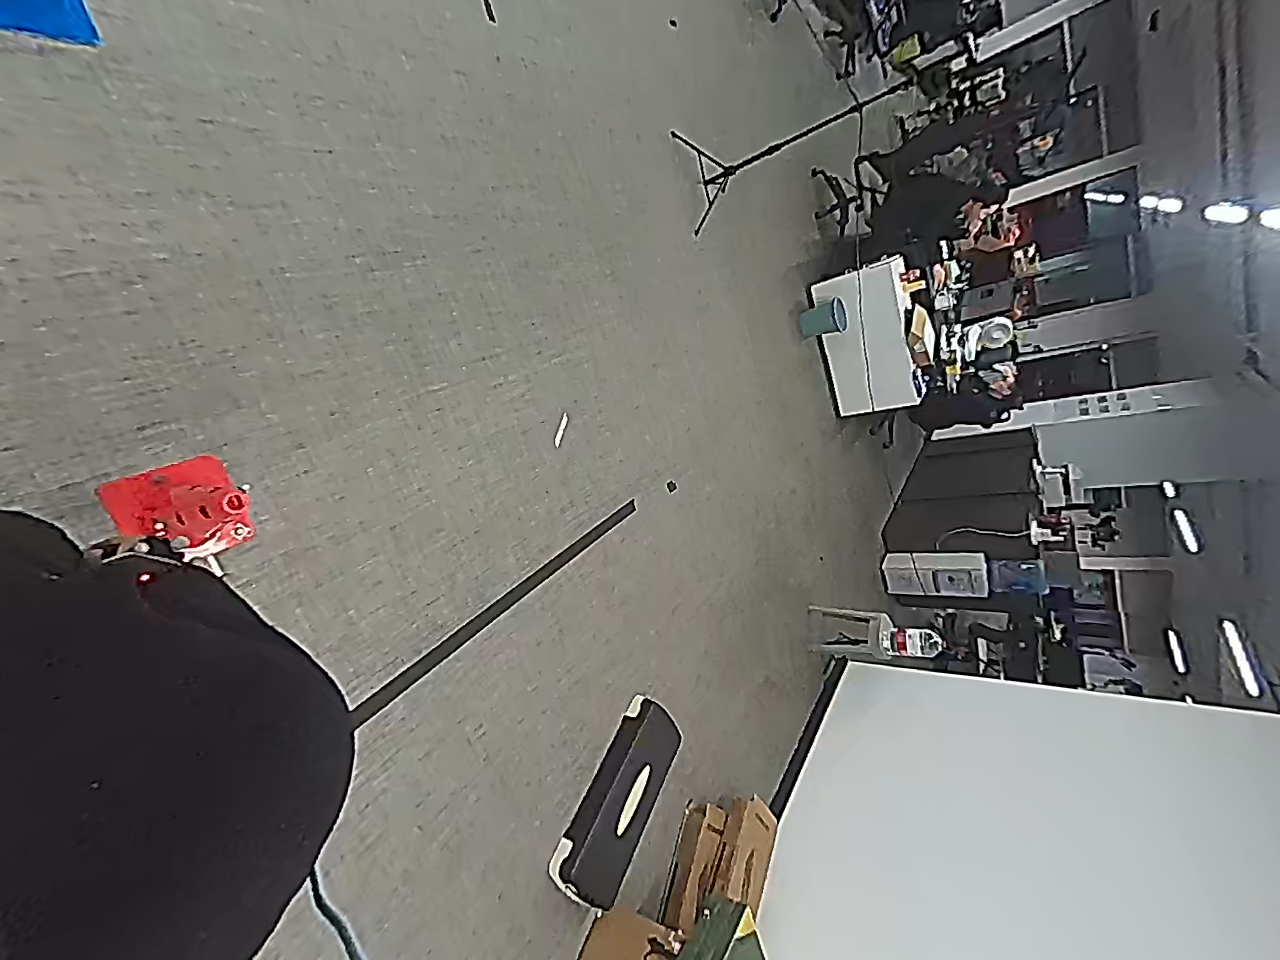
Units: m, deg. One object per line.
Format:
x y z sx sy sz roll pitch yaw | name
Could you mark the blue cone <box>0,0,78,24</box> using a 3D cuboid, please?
-1.036 -0.952 0.867 0.193 0.380 0.192 -31 108 -49 | blue cone
